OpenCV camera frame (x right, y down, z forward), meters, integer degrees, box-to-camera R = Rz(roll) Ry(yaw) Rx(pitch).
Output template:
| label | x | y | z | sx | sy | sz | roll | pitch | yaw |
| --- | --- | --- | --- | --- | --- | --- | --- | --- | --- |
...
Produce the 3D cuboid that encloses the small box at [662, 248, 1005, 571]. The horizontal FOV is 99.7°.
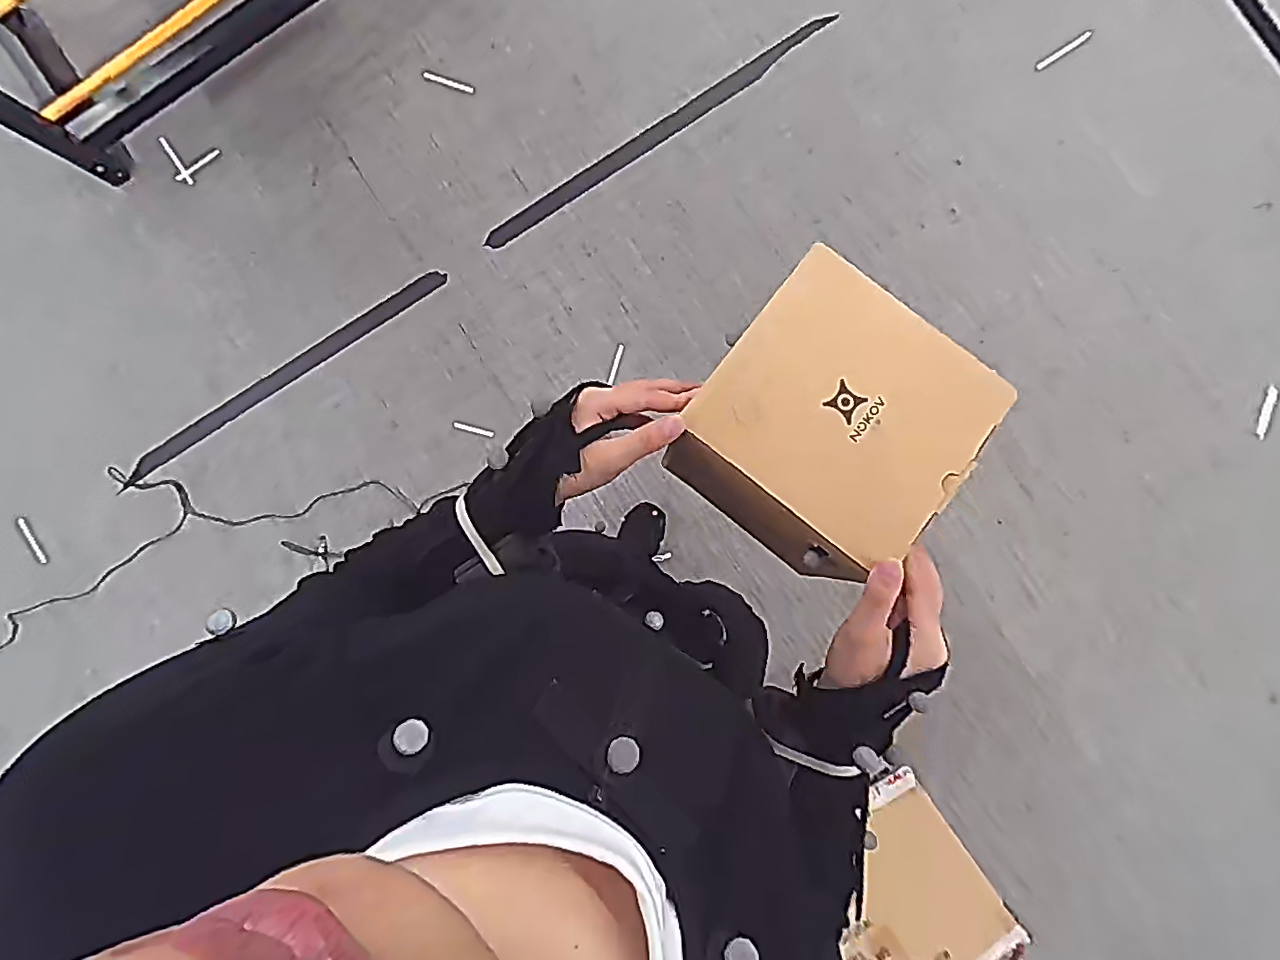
| label | x | y | z | sx | sy | sz | roll | pitch | yaw |
| --- | --- | --- | --- | --- | --- | --- | --- | --- | --- |
| small box | 0.134 | -0.041 | 0.448 | 0.179 | 0.176 | 0.168 | 38 | 83 | 2 |
